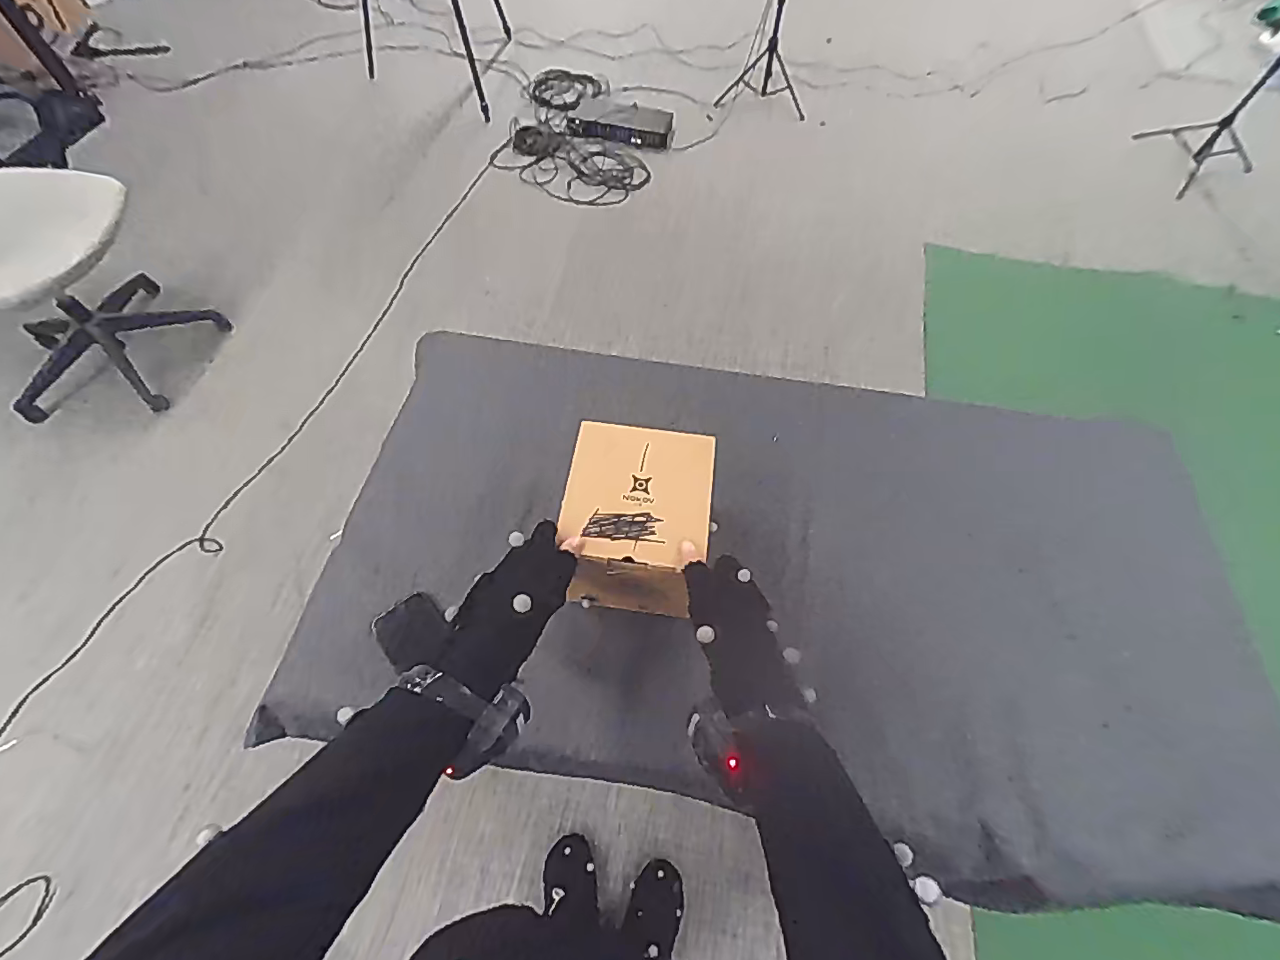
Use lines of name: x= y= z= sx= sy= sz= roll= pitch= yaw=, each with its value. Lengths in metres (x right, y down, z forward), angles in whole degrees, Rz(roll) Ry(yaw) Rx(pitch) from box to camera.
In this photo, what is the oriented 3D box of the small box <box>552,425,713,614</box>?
small box: x=-0.004 y=0.057 z=0.683 sx=0.168 sy=0.176 sz=0.179 roll=7 pitch=59 yaw=2
